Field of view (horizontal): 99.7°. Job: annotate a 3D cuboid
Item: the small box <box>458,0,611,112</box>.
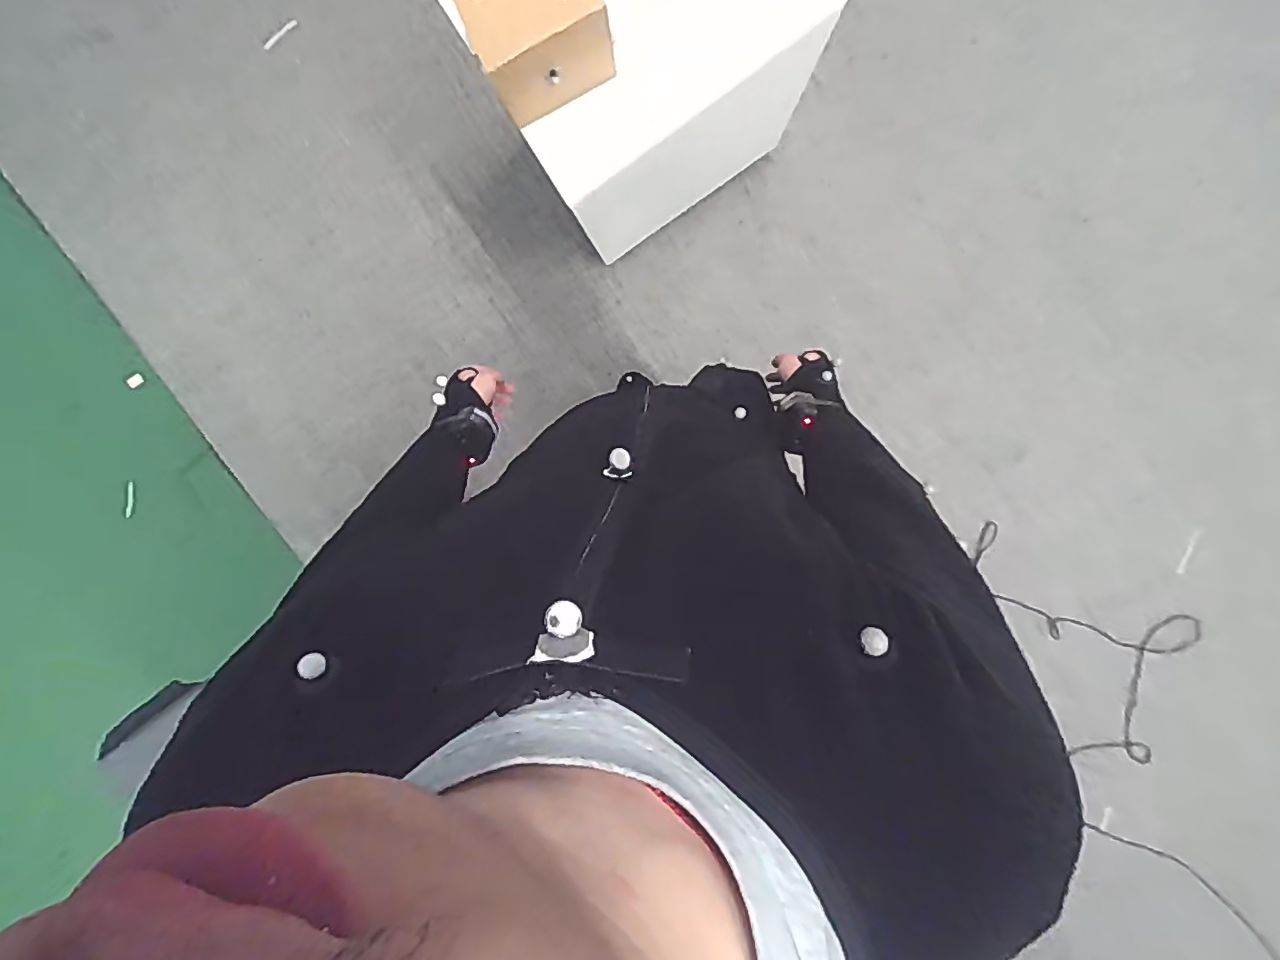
[{"bbox_3d":[-0.147,-0.647,0.725,0.179,0.176,0.168,-24,100,7],"label":"small box"}]
